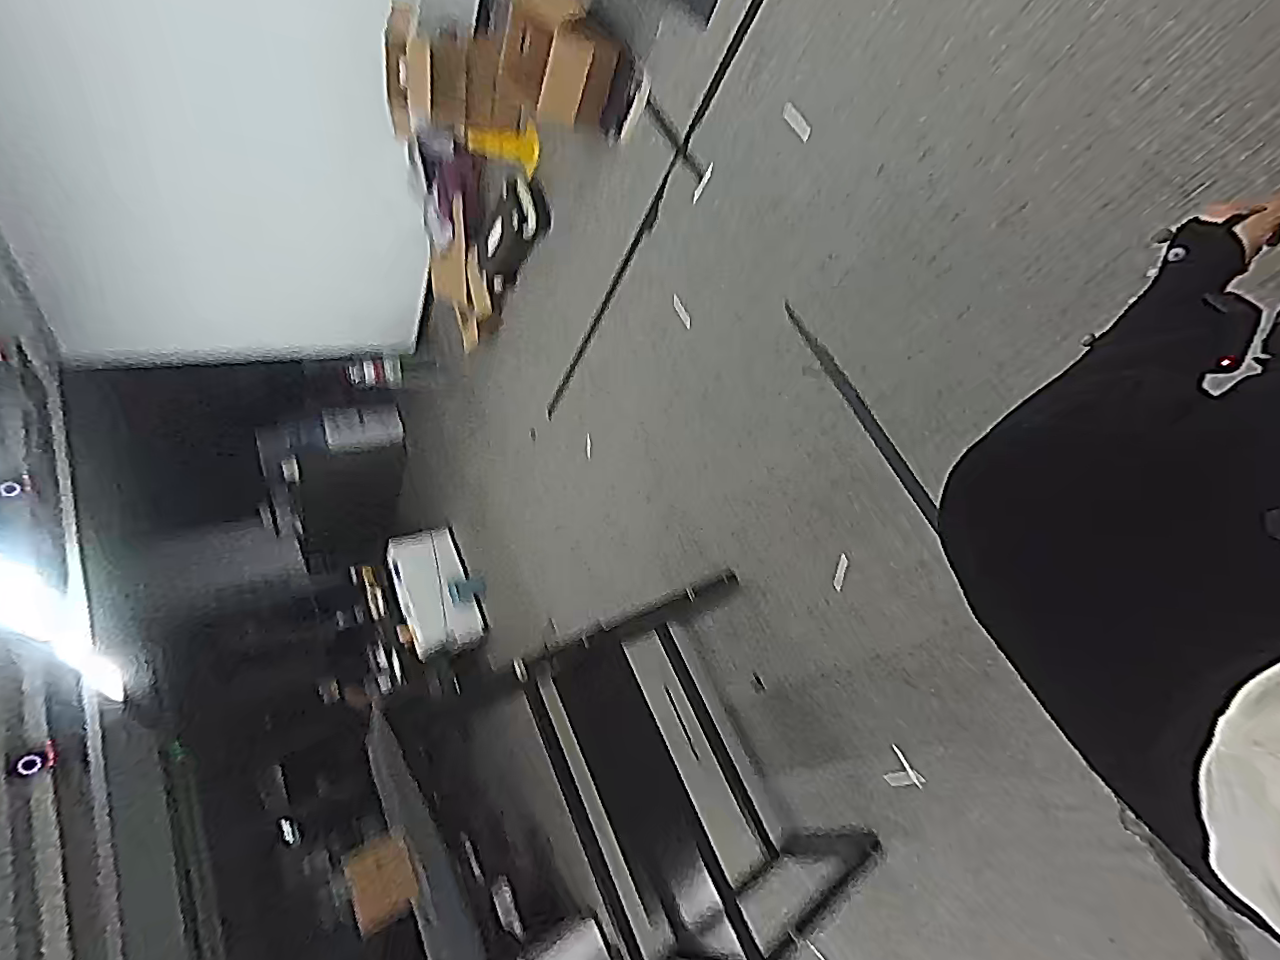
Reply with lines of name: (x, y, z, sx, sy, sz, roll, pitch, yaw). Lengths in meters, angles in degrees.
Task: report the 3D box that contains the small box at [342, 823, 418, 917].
small box: (-0.808, 1.197, 1.677, 0.168, 0.176, 0.179, -46, 64, 50)
